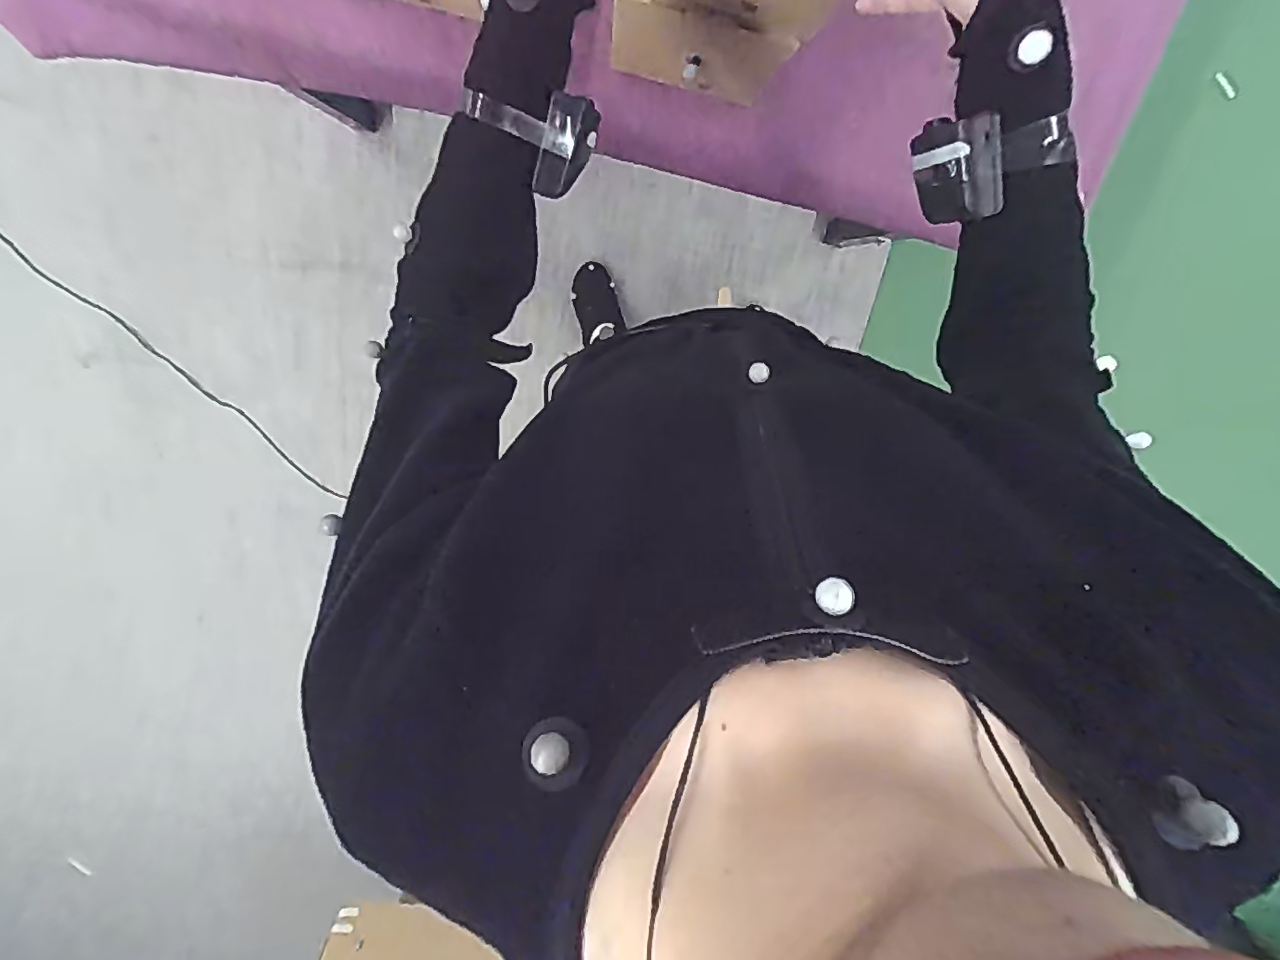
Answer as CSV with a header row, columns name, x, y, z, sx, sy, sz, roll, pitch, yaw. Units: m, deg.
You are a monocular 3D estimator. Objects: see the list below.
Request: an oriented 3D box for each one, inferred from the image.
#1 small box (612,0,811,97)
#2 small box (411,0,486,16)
name,x,y,z,sx,sy,sz,roll,pitch,yaw
small box,0.070,-0.491,0.498,0.168,0.176,0.179,9,109,-8
small box,-0.220,-0.551,0.457,0.168,0.176,0.179,10,109,-6
